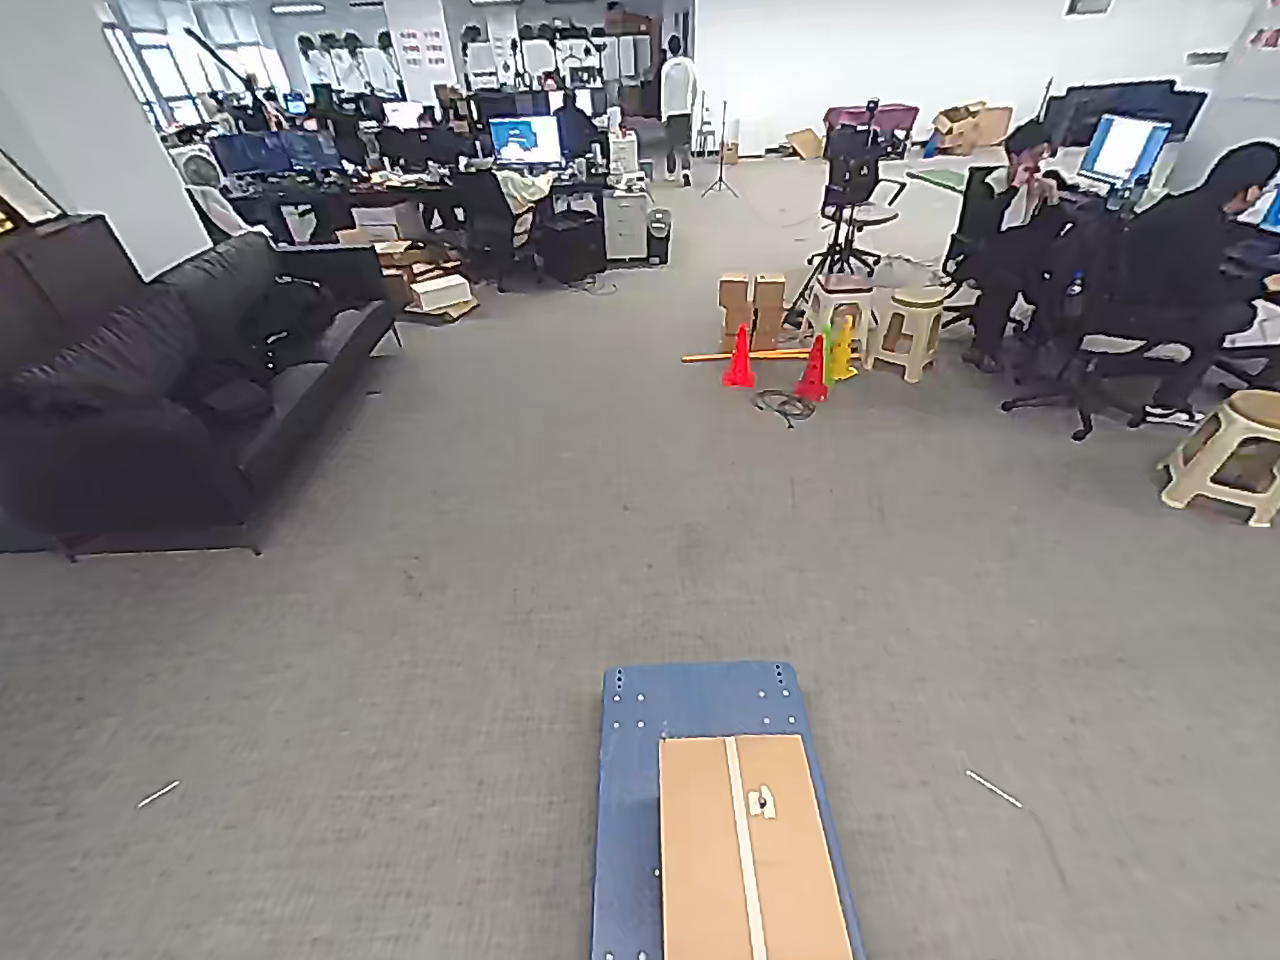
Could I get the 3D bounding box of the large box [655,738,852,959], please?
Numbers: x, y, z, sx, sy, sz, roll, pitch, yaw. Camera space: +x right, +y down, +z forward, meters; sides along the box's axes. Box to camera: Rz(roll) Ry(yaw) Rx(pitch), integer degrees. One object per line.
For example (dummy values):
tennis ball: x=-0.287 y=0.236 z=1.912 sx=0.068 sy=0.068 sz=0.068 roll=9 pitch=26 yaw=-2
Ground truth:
large box: x=0.198 y=0.811 z=1.117 sx=0.320 sy=0.320 sz=0.408 roll=-2 pitch=37 yaw=1
